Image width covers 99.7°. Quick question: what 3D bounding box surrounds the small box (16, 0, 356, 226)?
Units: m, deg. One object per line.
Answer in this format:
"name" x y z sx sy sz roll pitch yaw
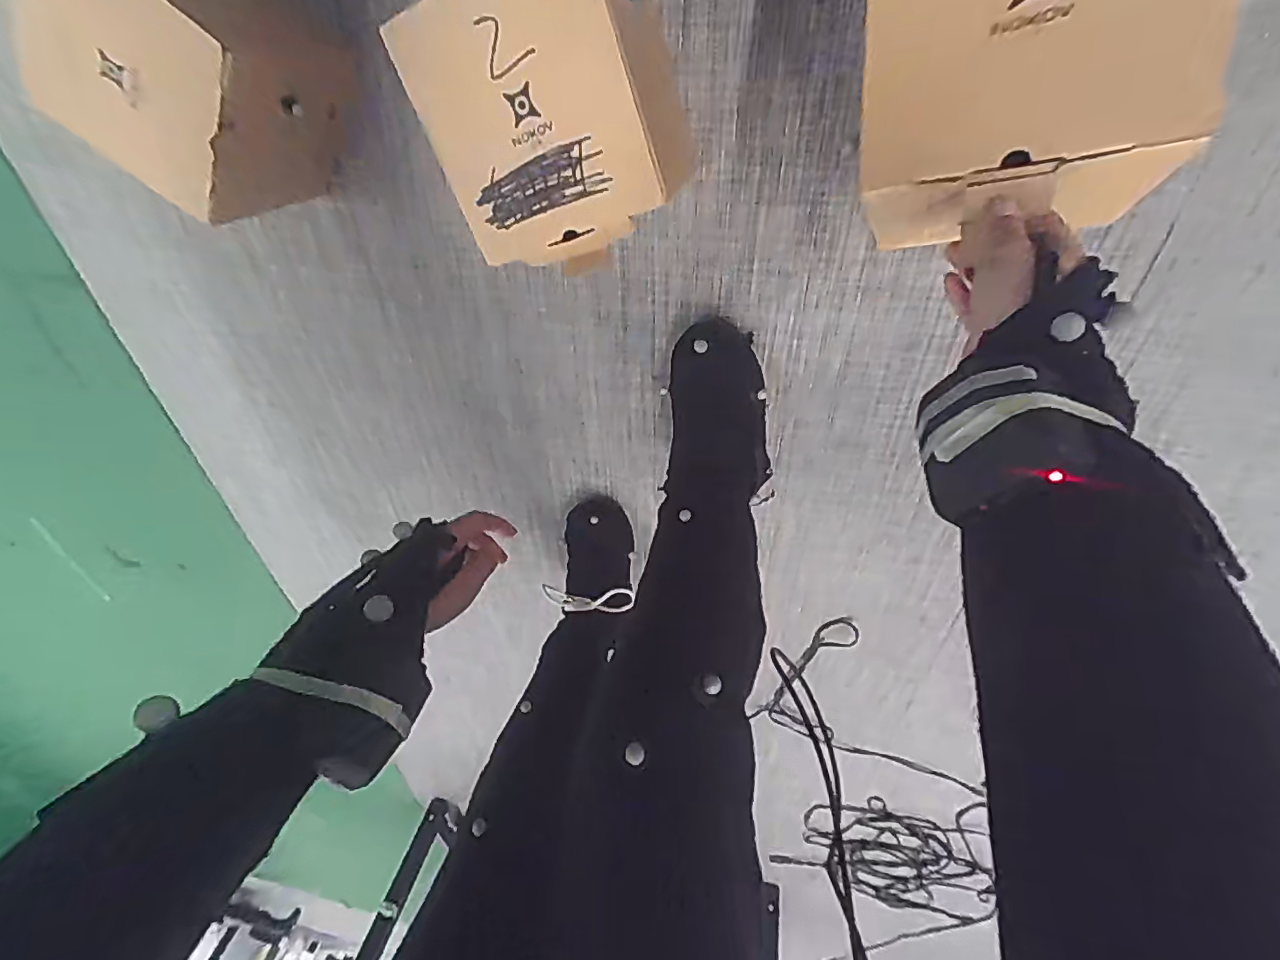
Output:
"small box" -0.407 -0.381 0.508 0.179 0.176 0.168 36 127 -11
